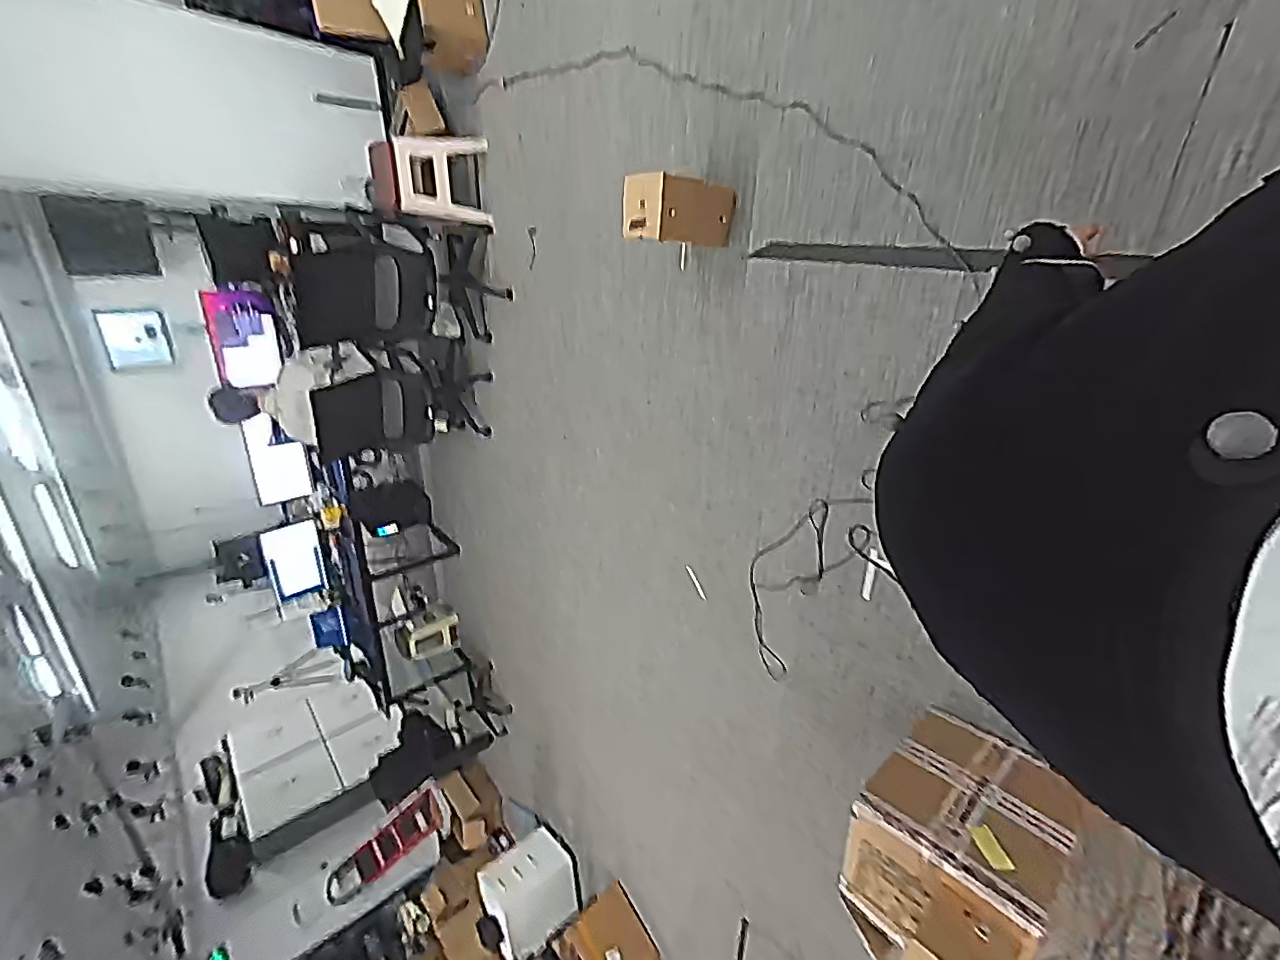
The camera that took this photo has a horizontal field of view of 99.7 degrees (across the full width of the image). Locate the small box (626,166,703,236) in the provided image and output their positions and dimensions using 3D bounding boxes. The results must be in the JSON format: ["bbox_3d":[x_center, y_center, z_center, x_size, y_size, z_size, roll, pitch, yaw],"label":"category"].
[{"bbox_3d":[0.075,-0.840,1.638,0.168,0.176,0.179,26,122,41],"label":"small box"}]

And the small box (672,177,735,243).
[{"bbox_3d":[0.186,-0.880,1.755,0.168,0.176,0.179,32,126,38],"label":"small box"}]

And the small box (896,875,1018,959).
[{"bbox_3d":[0.655,0.990,1.124,0.168,0.176,0.179,23,116,41],"label":"small box"}]
